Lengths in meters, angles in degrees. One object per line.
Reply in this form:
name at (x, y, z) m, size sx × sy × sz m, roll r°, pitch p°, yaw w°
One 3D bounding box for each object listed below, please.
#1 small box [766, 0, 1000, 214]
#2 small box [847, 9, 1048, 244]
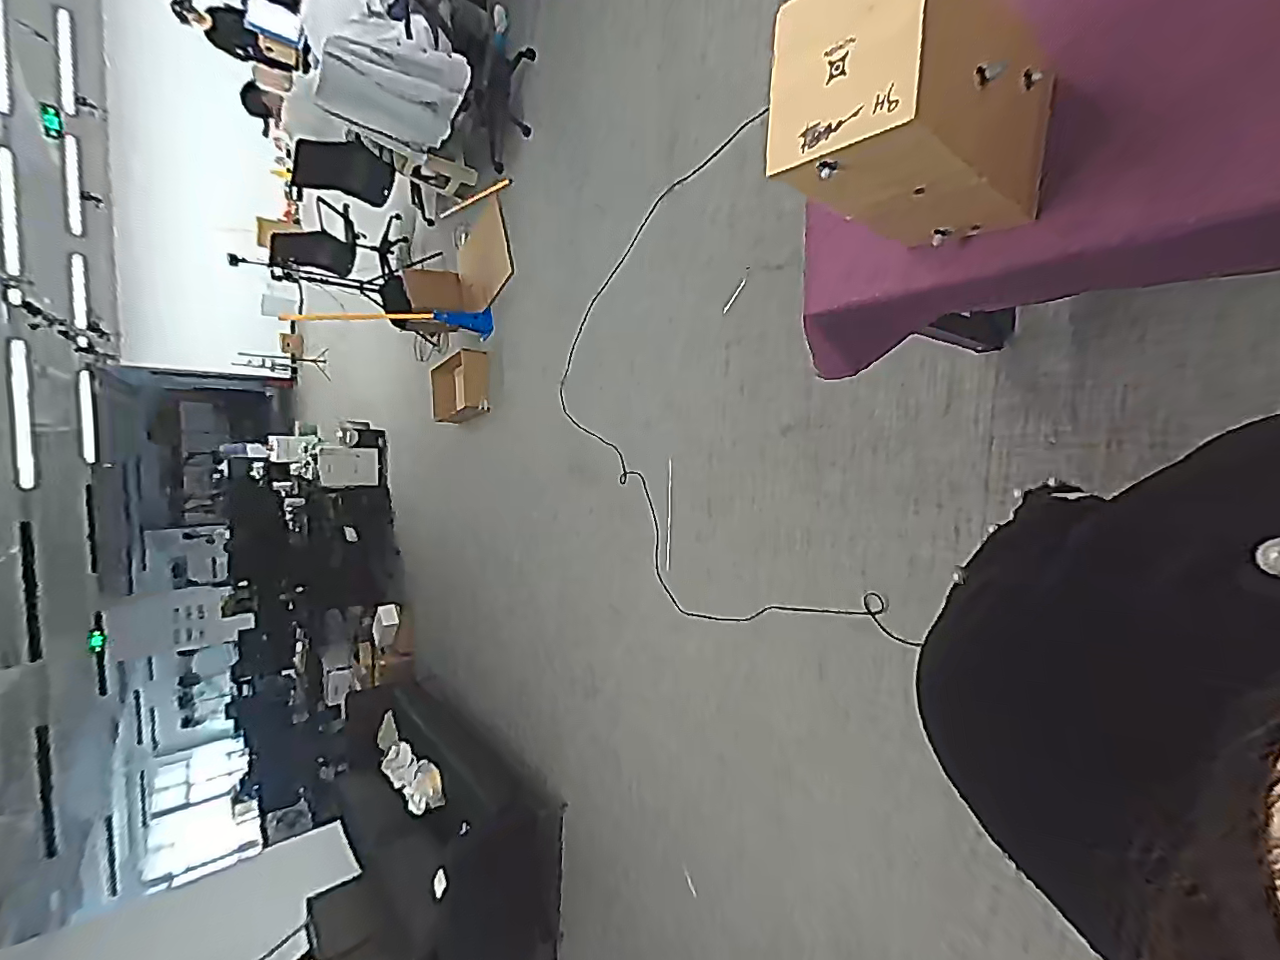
small box at (0.262, -0.420, 0.585) m, size 0.168 × 0.176 × 0.179 m, roll 11°, pitch 99°, yaw 52°
small box at (0.391, -0.424, 0.688) m, size 0.168 × 0.176 × 0.179 m, roll 12°, pitch 101°, yaw 51°
